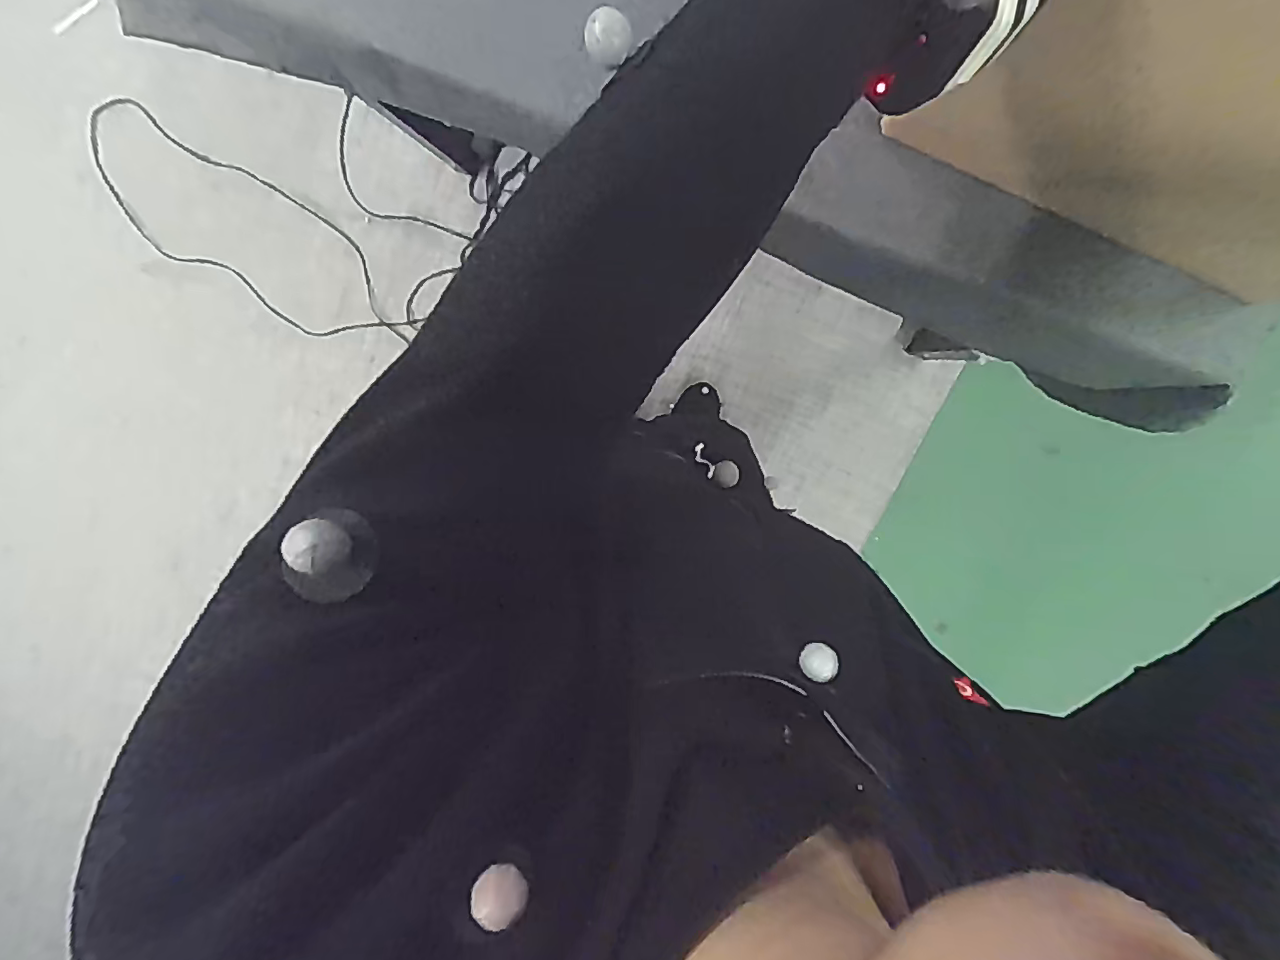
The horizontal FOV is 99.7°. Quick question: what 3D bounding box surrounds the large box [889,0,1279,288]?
[{"bbox_3d":[0.456,-0.357,0.336,0.408,0.320,0.320,24,106,-1],"label":"large box"}]
